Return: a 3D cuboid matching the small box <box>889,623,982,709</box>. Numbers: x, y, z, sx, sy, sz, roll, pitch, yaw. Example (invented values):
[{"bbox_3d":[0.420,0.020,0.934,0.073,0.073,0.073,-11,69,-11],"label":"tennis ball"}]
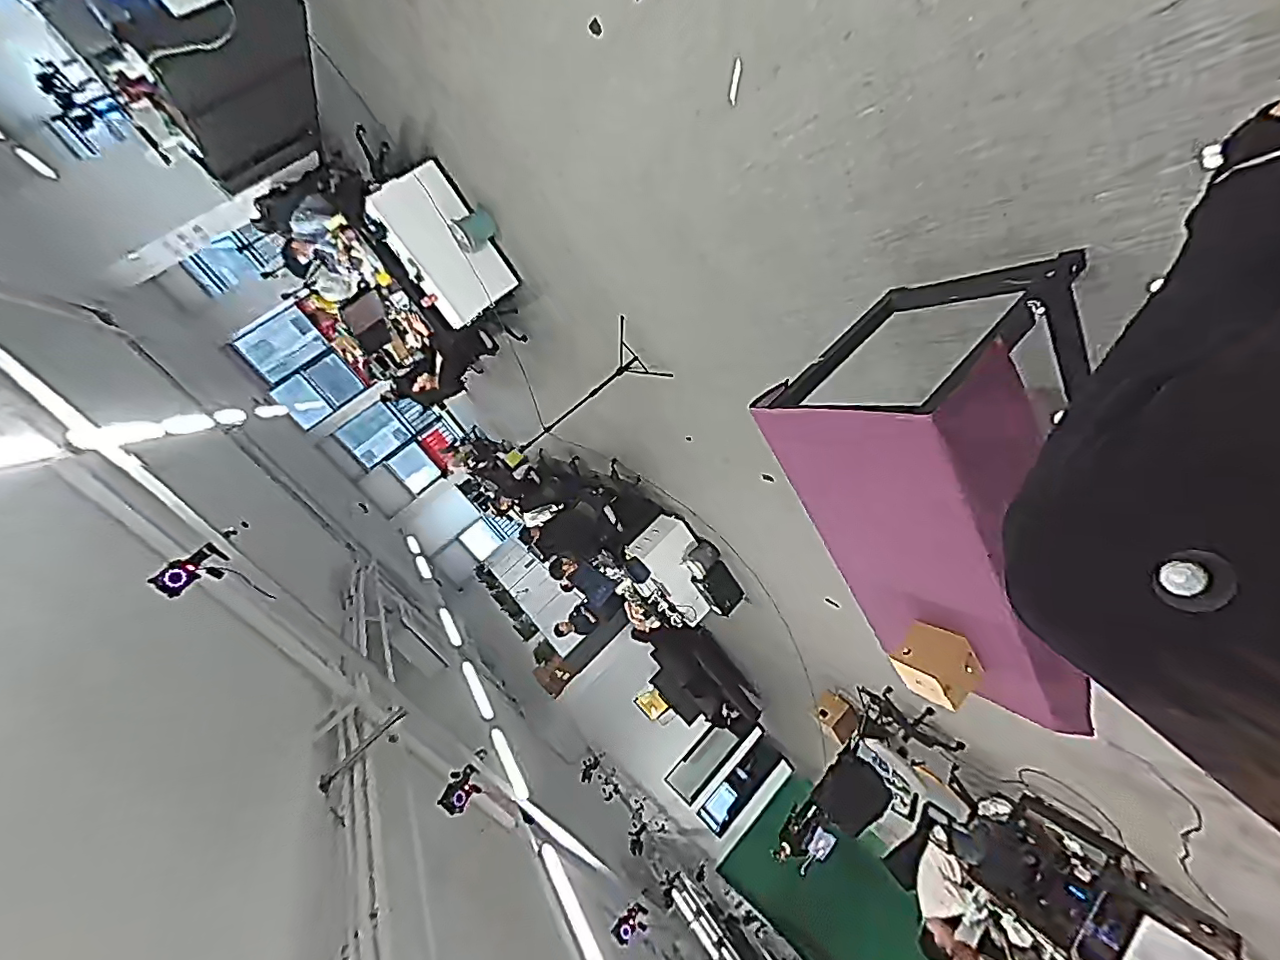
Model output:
[{"bbox_3d":[0.946,0.584,1.729,0.168,0.176,0.179,53,163,-20],"label":"small box"}]
